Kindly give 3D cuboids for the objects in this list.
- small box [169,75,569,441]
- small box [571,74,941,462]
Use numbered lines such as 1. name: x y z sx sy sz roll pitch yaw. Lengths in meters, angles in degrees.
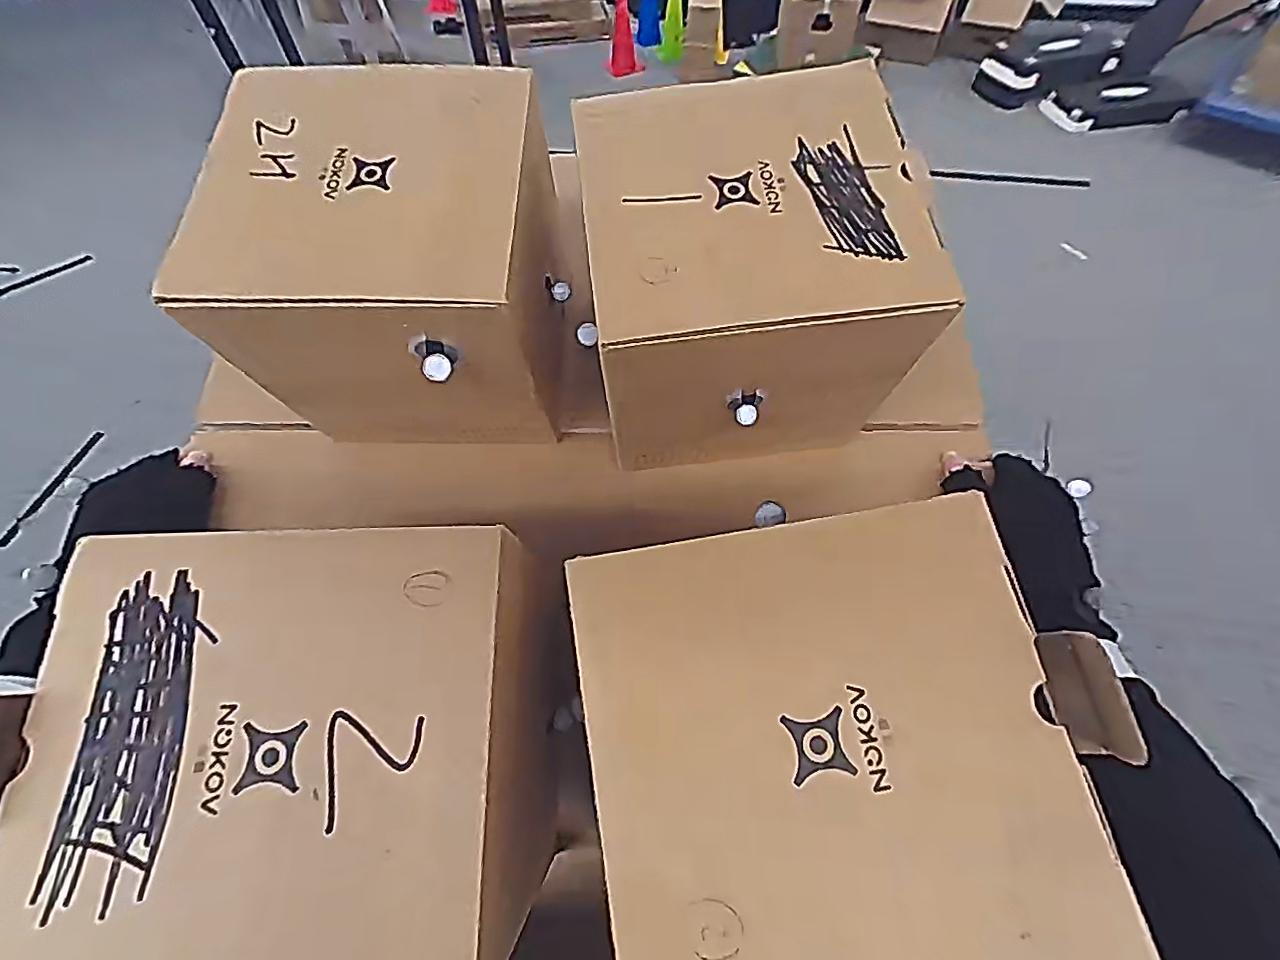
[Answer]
1. small box: -0.148 -0.135 0.372 0.179 0.176 0.168 1 70 2
2. small box: 0.056 -0.123 0.363 0.179 0.176 0.168 -7 70 0
